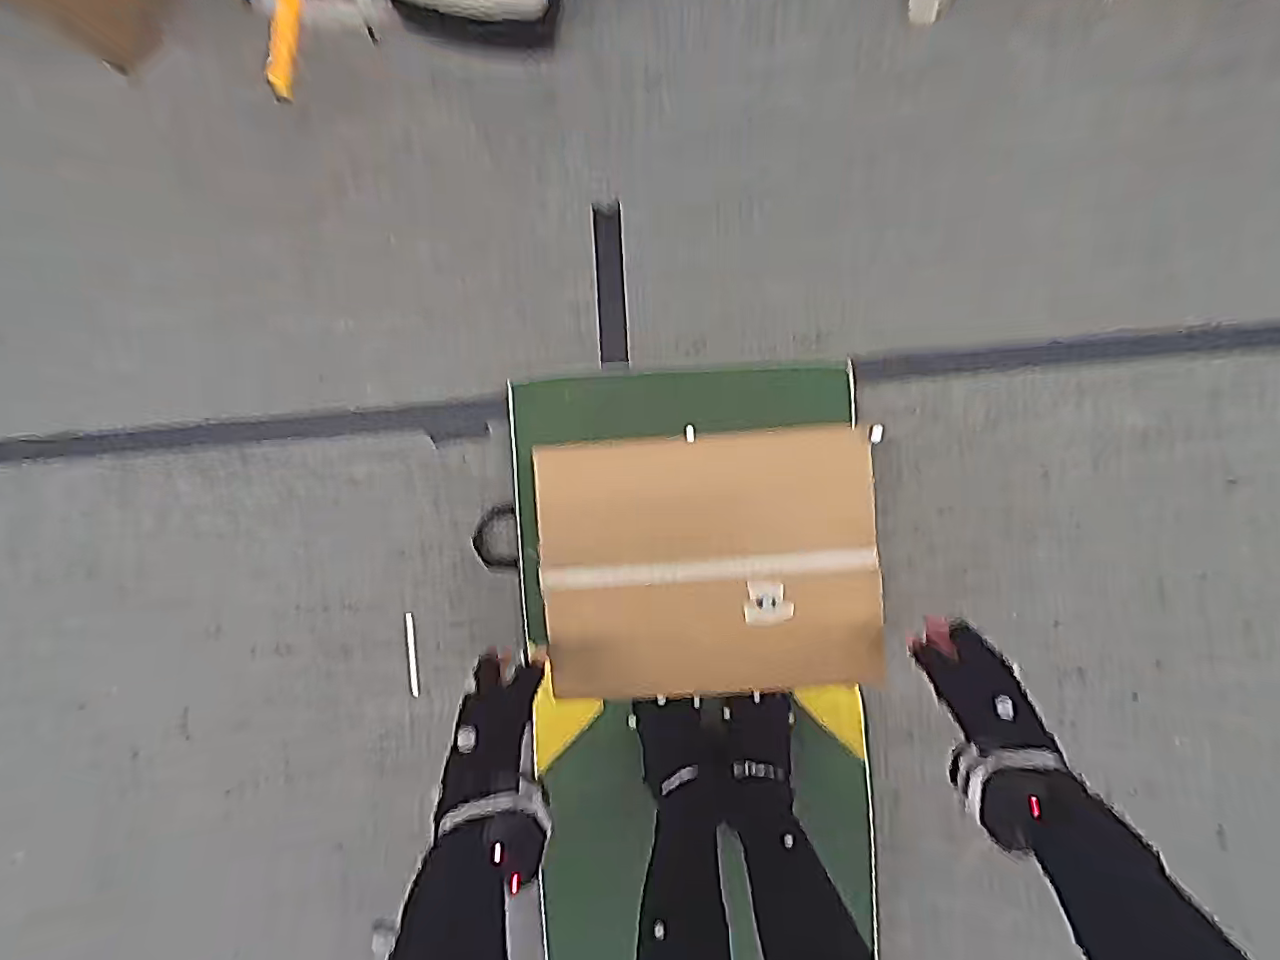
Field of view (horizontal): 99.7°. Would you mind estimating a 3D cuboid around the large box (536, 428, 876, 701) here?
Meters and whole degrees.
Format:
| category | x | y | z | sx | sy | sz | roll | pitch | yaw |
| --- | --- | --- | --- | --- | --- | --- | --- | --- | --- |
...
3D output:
| category | x | y | z | sx | sy | sz | roll | pitch | yaw |
| --- | --- | --- | --- | --- | --- | --- | --- | --- | --- |
| large box | 0.083 | 0.104 | 0.816 | 0.408 | 0.320 | 0.320 | -5 | 92 | 1 |
